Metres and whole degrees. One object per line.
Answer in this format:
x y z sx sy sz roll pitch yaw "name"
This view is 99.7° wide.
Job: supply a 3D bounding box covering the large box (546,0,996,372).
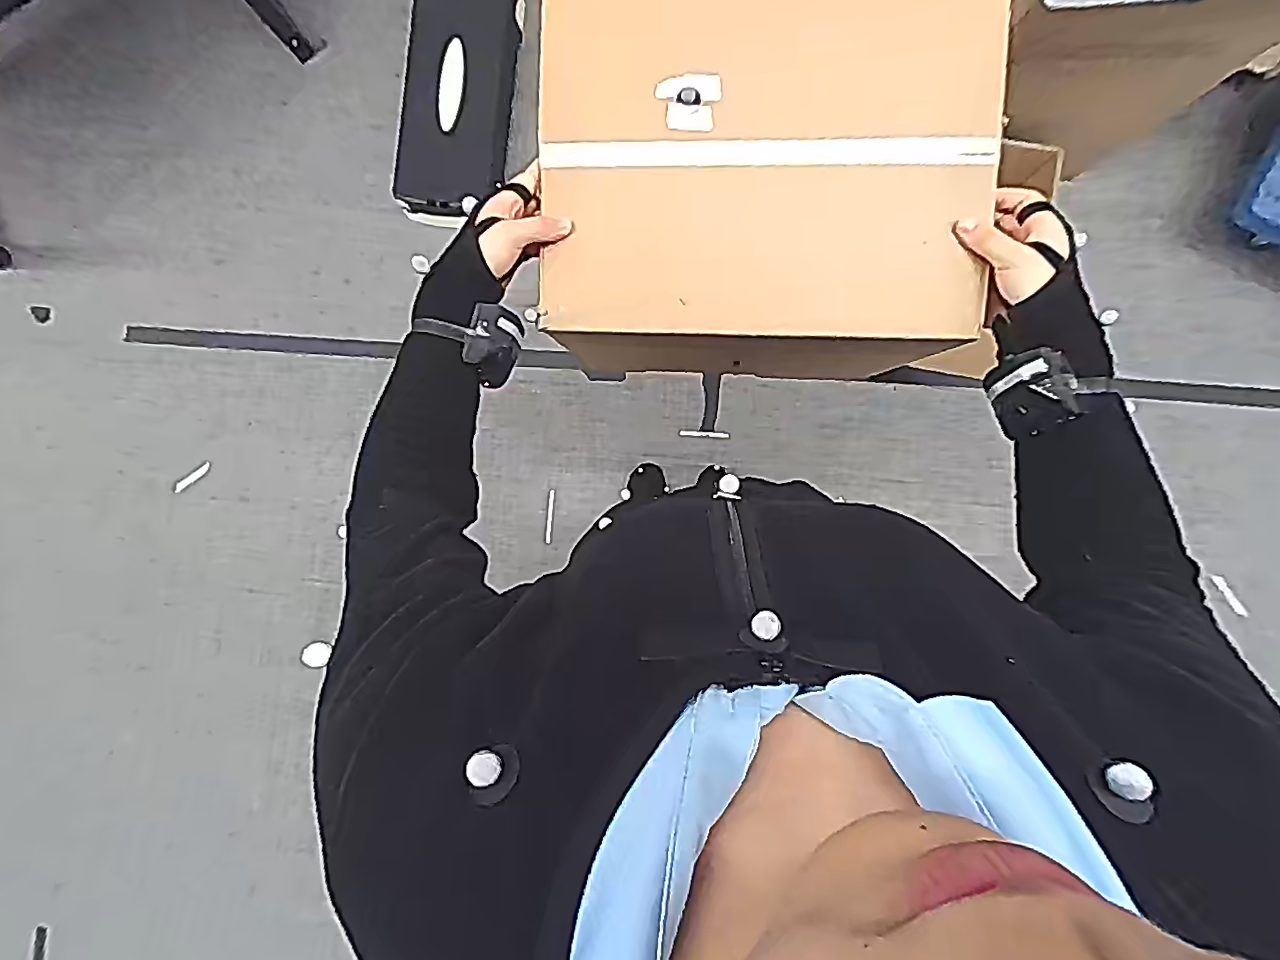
0.126 -0.301 0.644 0.408 0.320 0.320 2 93 6 "large box"
